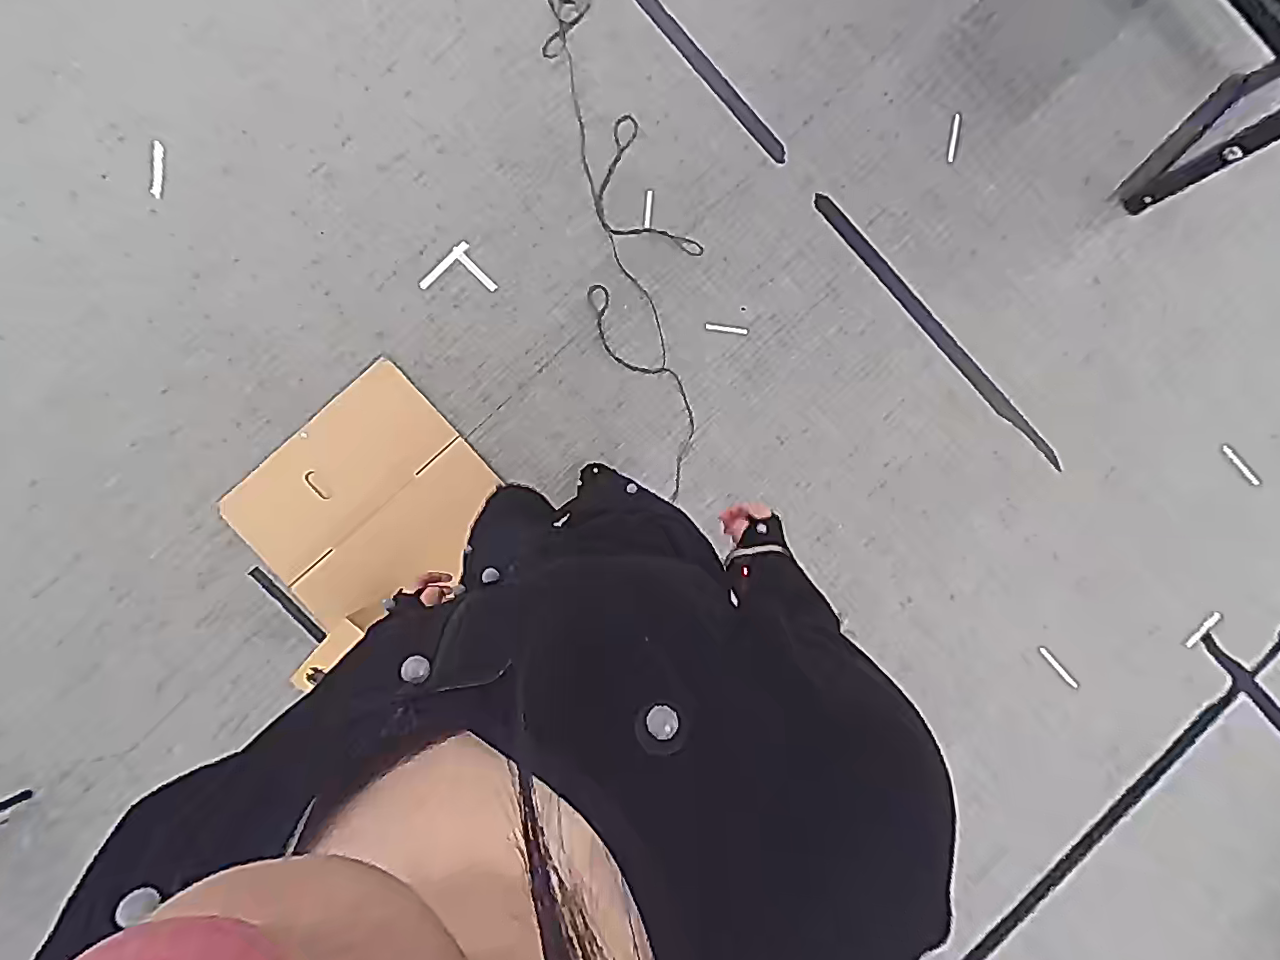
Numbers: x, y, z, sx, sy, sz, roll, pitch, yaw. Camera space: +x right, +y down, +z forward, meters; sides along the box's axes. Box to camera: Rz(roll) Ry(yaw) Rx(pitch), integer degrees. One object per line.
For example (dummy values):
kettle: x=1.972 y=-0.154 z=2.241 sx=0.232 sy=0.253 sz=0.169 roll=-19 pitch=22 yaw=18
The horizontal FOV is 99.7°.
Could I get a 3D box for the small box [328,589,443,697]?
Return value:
small box: x=-0.630 y=0.402 z=1.365 sx=0.168 sy=0.176 sz=0.179 roll=38 pitch=88 yaw=-3
